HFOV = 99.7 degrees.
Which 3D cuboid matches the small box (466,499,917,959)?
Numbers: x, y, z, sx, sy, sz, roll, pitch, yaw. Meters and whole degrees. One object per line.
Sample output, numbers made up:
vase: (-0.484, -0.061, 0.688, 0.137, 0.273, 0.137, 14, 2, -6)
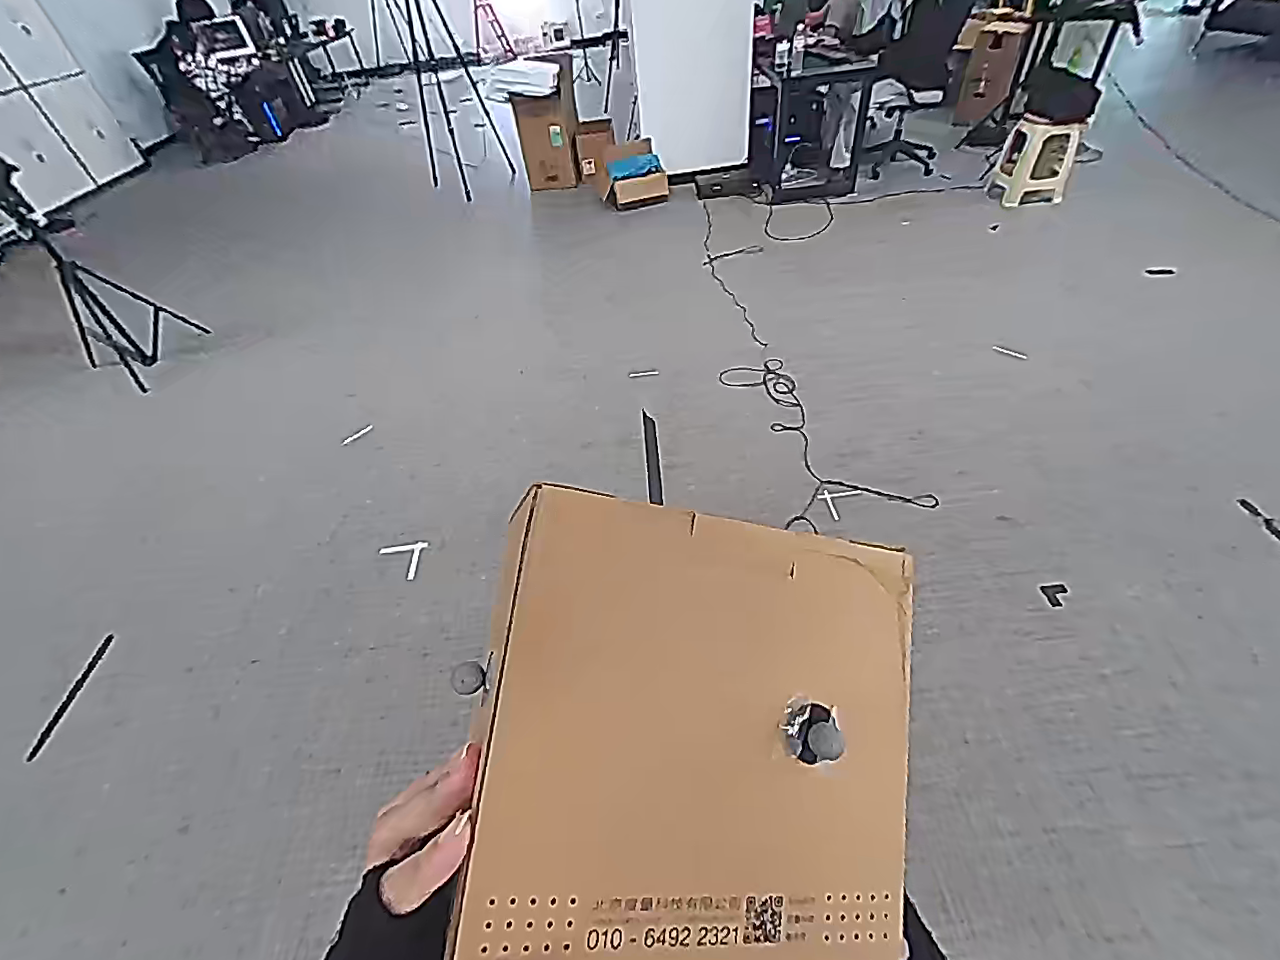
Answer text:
small box: (0.012, 0.113, 0.279, 0.168, 0.179, 0.176, 11, 78, -14)
